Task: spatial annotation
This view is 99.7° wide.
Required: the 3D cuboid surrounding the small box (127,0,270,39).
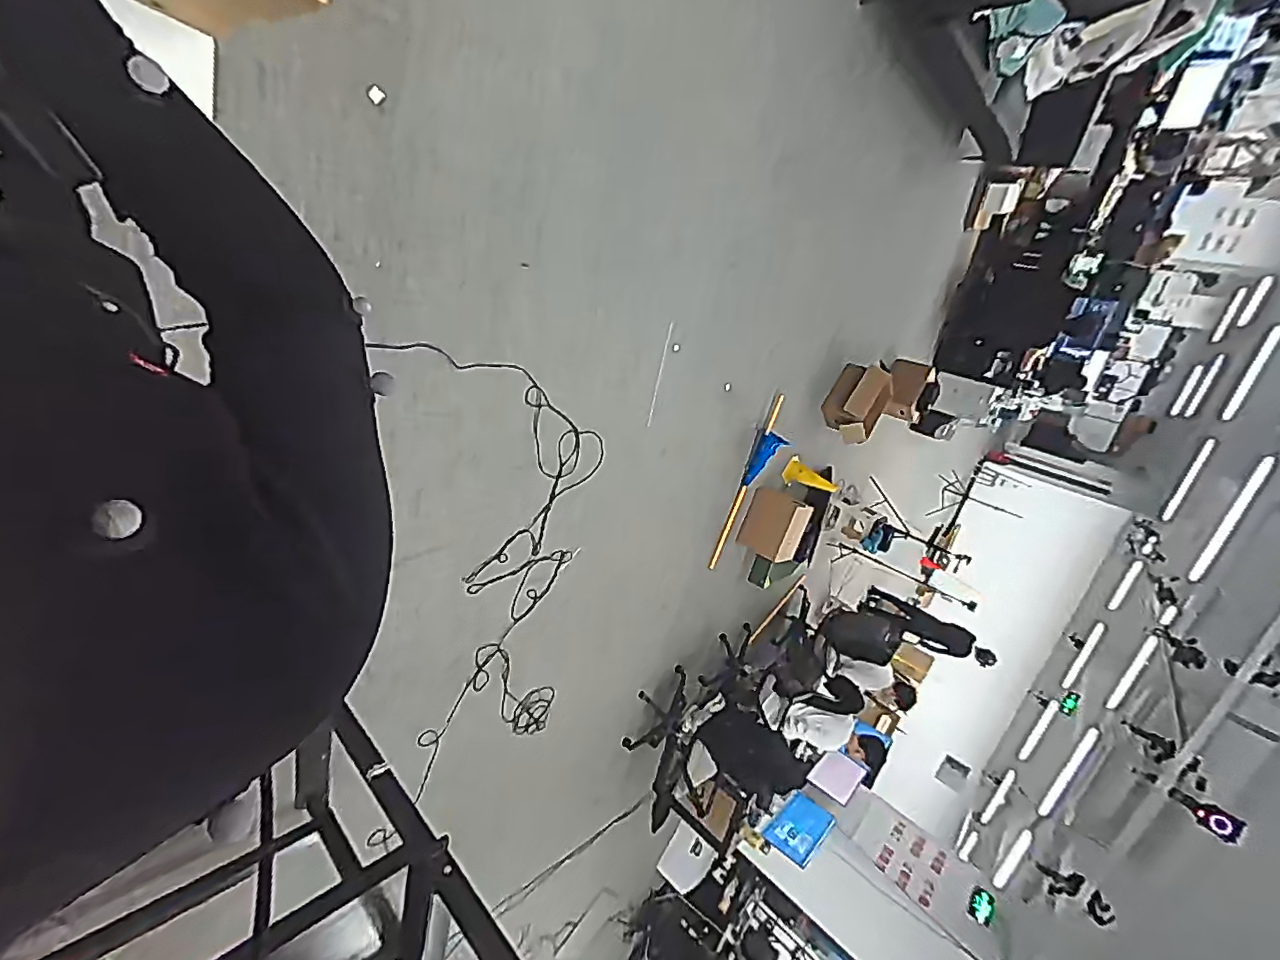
[{"bbox_3d":[-0.460,-0.556,0.502,0.168,0.176,0.179,-4,116,-50],"label":"small box"}]
